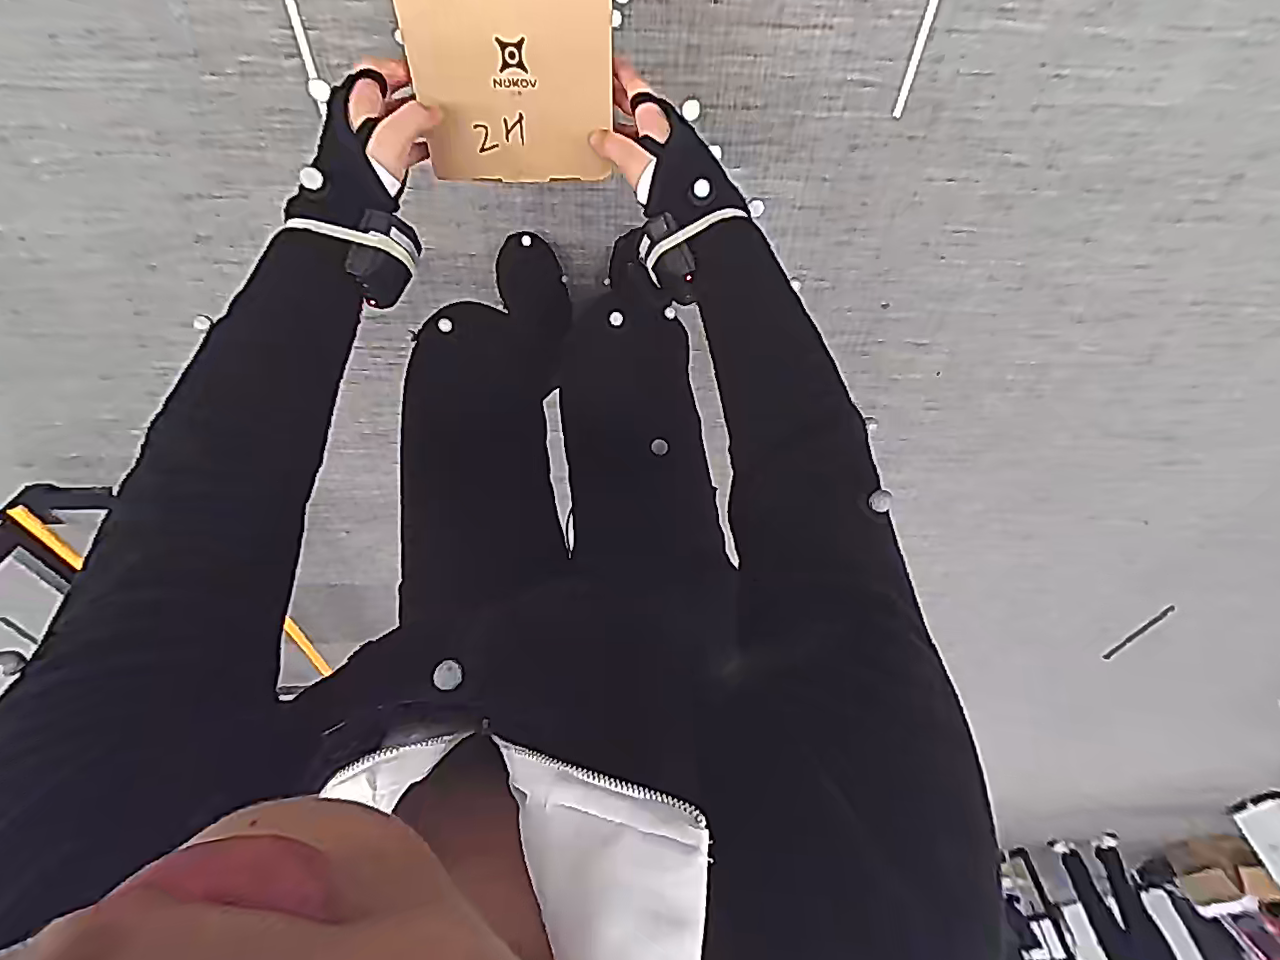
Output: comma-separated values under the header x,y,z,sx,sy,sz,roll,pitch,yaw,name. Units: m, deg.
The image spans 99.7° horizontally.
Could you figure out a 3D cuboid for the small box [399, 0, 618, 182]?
x,y,z,sx,sy,sz,roll,pitch,yaw,name
-0.107,-0.394,0.488,0.168,0.176,0.179,-2,140,-5,small box
